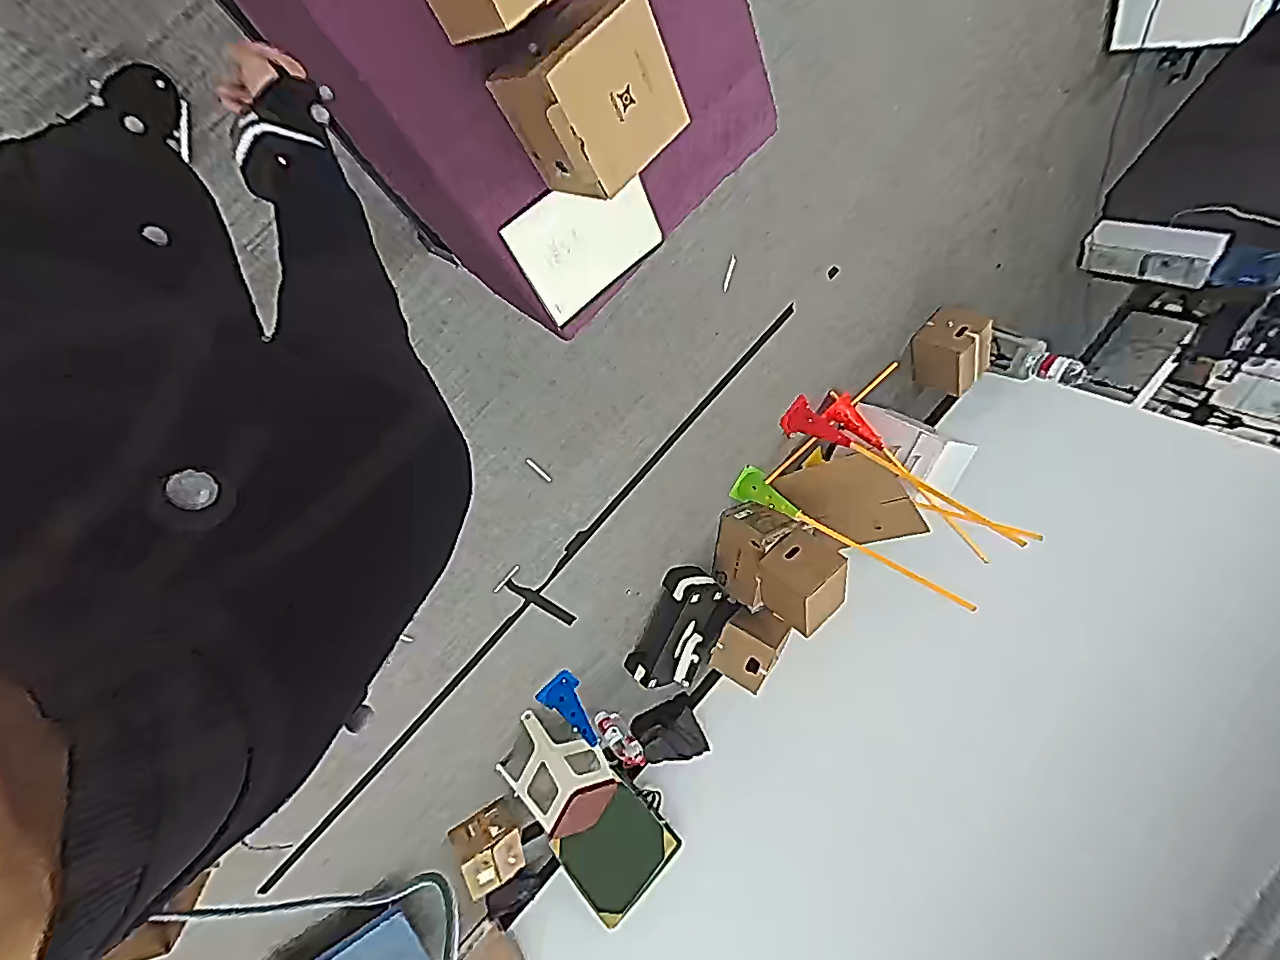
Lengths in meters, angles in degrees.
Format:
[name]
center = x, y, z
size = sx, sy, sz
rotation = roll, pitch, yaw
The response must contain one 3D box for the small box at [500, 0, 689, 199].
[small box]
center = -0.069, -0.523, 0.748
size = 0.179, 0.176, 0.168
rotation = -47, 139, -8
